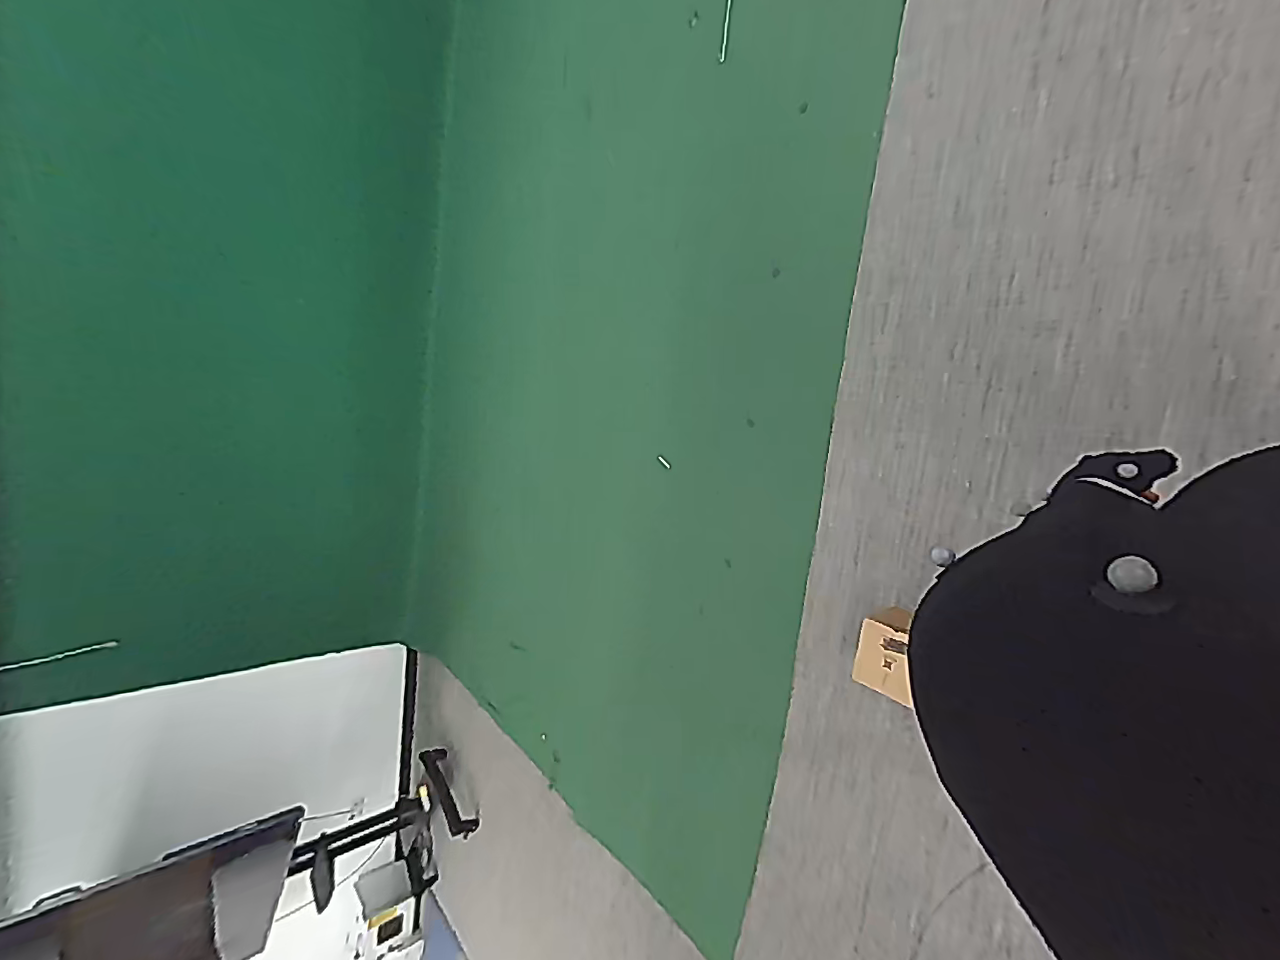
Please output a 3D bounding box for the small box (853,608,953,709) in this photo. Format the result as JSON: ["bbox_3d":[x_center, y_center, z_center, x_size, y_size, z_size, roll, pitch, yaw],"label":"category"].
[{"bbox_3d":[0.674,0.444,1.380,0.168,0.176,0.179,17,103,47],"label":"small box"}]
